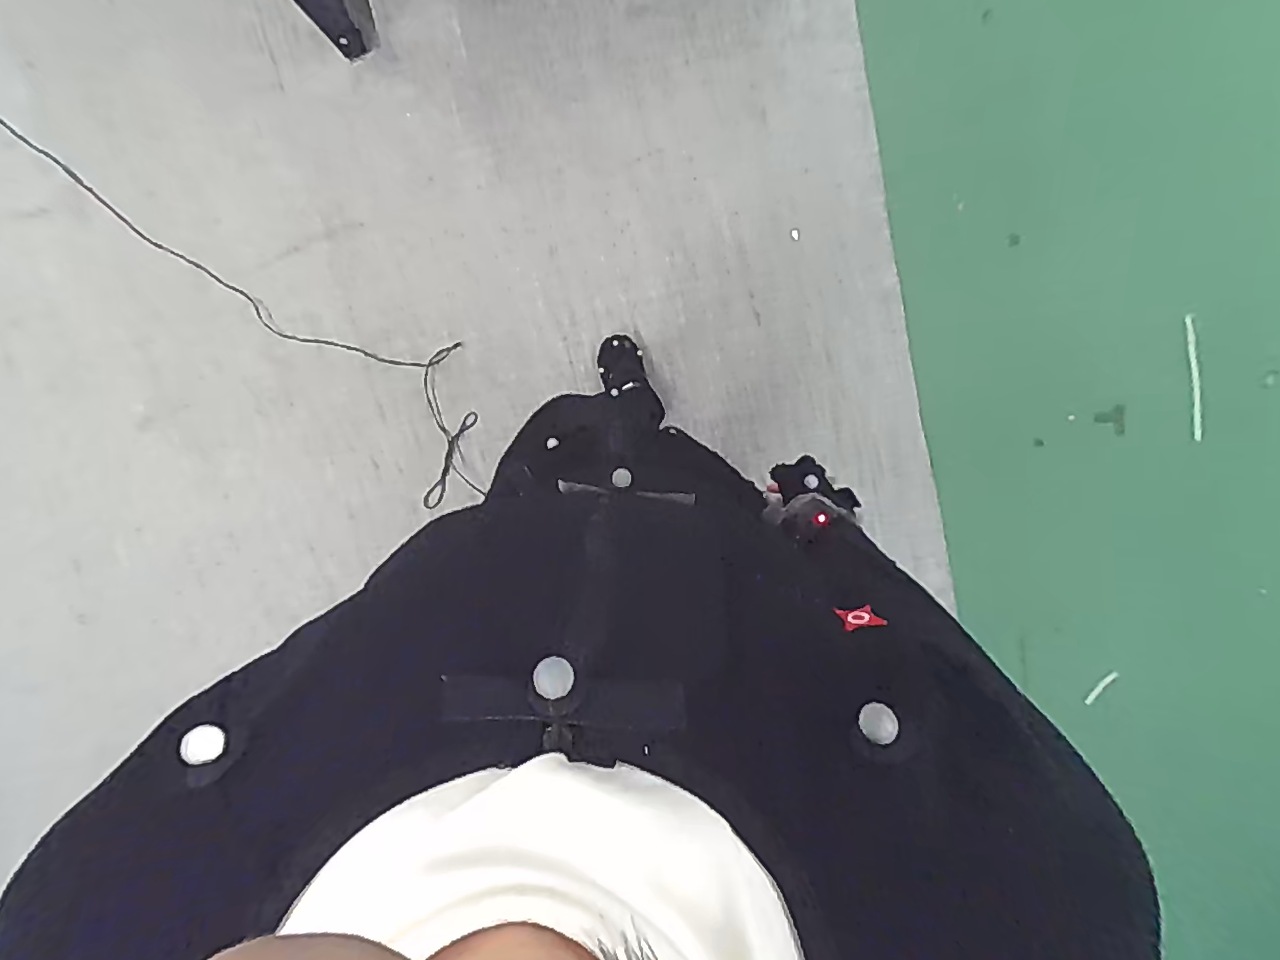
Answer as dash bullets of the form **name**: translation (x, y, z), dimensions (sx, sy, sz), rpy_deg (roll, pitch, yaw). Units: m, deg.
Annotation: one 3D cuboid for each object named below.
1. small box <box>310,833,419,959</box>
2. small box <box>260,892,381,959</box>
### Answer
- **small box**: translation (-0.619, 0.928, 1.193), dimensions (0.179, 0.176, 0.168), rpy_deg (21, 100, 0)
- **small box**: translation (-0.619, 0.938, 1.026), dimensions (0.168, 0.176, 0.179), rpy_deg (15, 97, 0)
